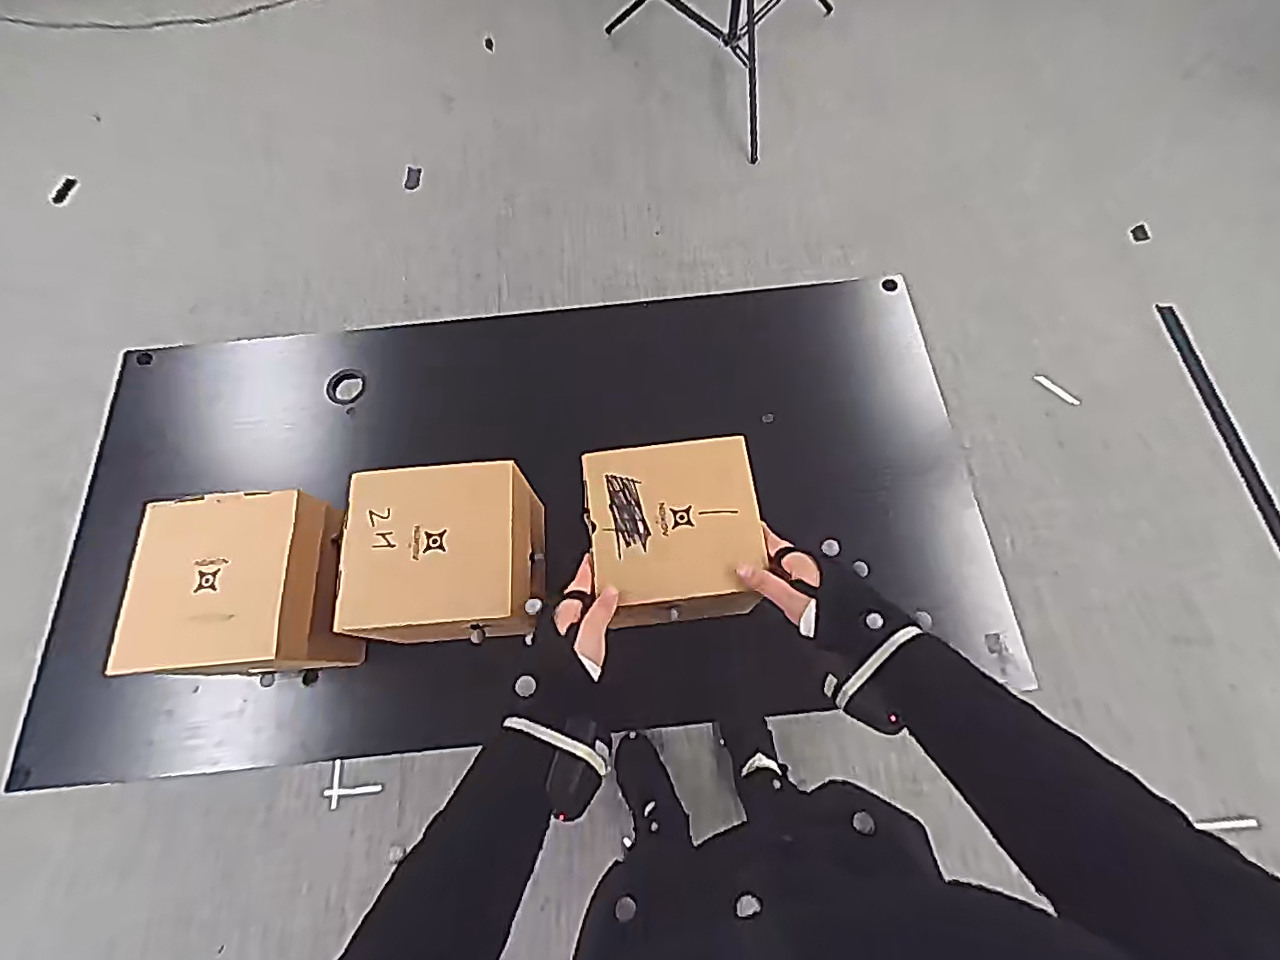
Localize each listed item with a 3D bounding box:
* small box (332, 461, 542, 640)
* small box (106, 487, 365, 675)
[{"bbox_3d":[-0.210,0.088,0.617,0.179,0.176,0.168,-5,69,0],"label":"small box"},{"bbox_3d":[-0.428,0.123,0.614,0.168,0.176,0.179,-6,70,1],"label":"small box"}]
